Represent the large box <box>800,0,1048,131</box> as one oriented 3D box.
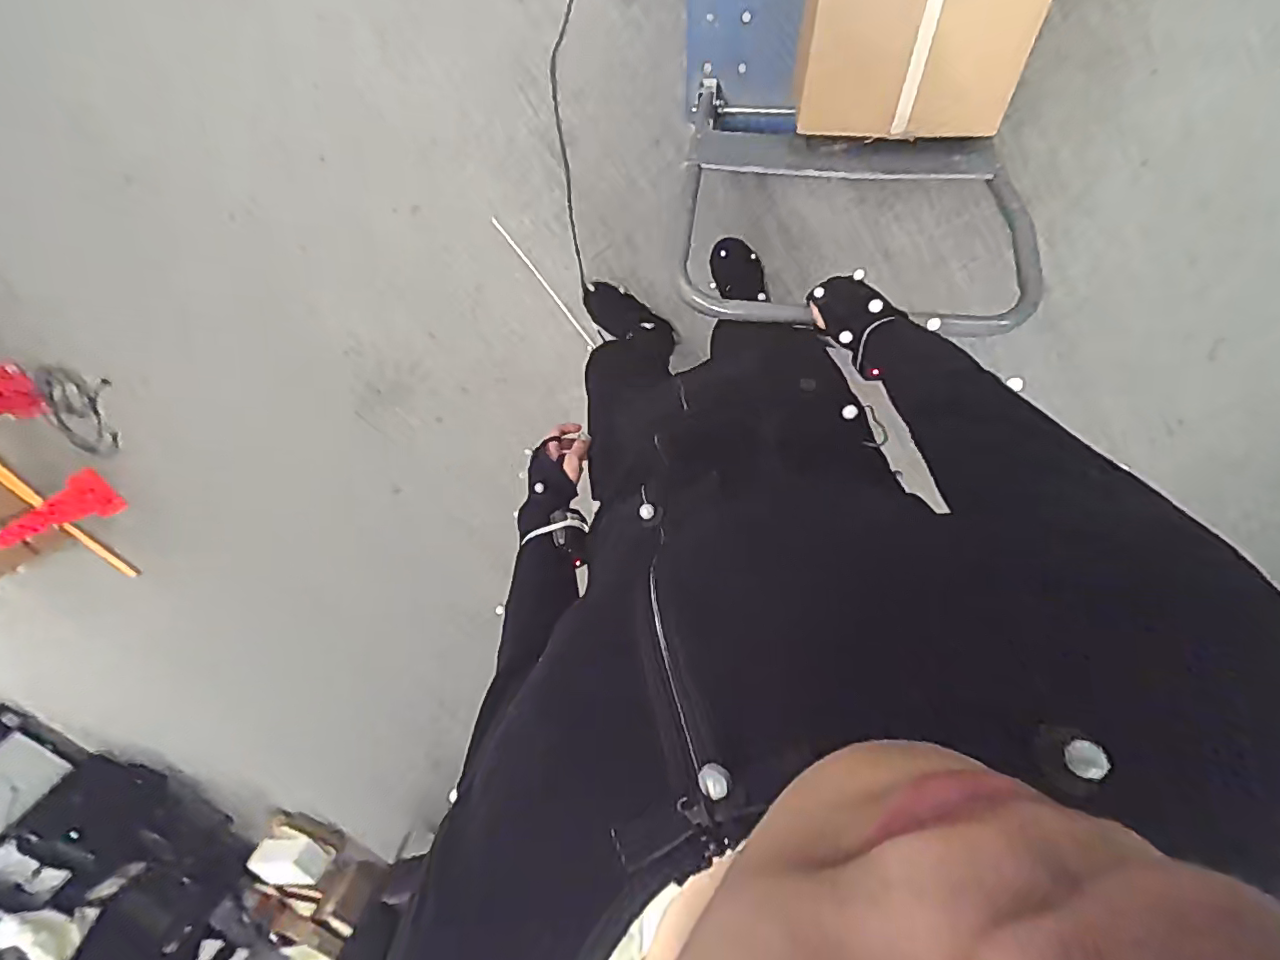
[{"bbox_3d":[0.435,-0.814,0.835,0.320,0.320,0.408,5,139,7],"label":"large box"}]
